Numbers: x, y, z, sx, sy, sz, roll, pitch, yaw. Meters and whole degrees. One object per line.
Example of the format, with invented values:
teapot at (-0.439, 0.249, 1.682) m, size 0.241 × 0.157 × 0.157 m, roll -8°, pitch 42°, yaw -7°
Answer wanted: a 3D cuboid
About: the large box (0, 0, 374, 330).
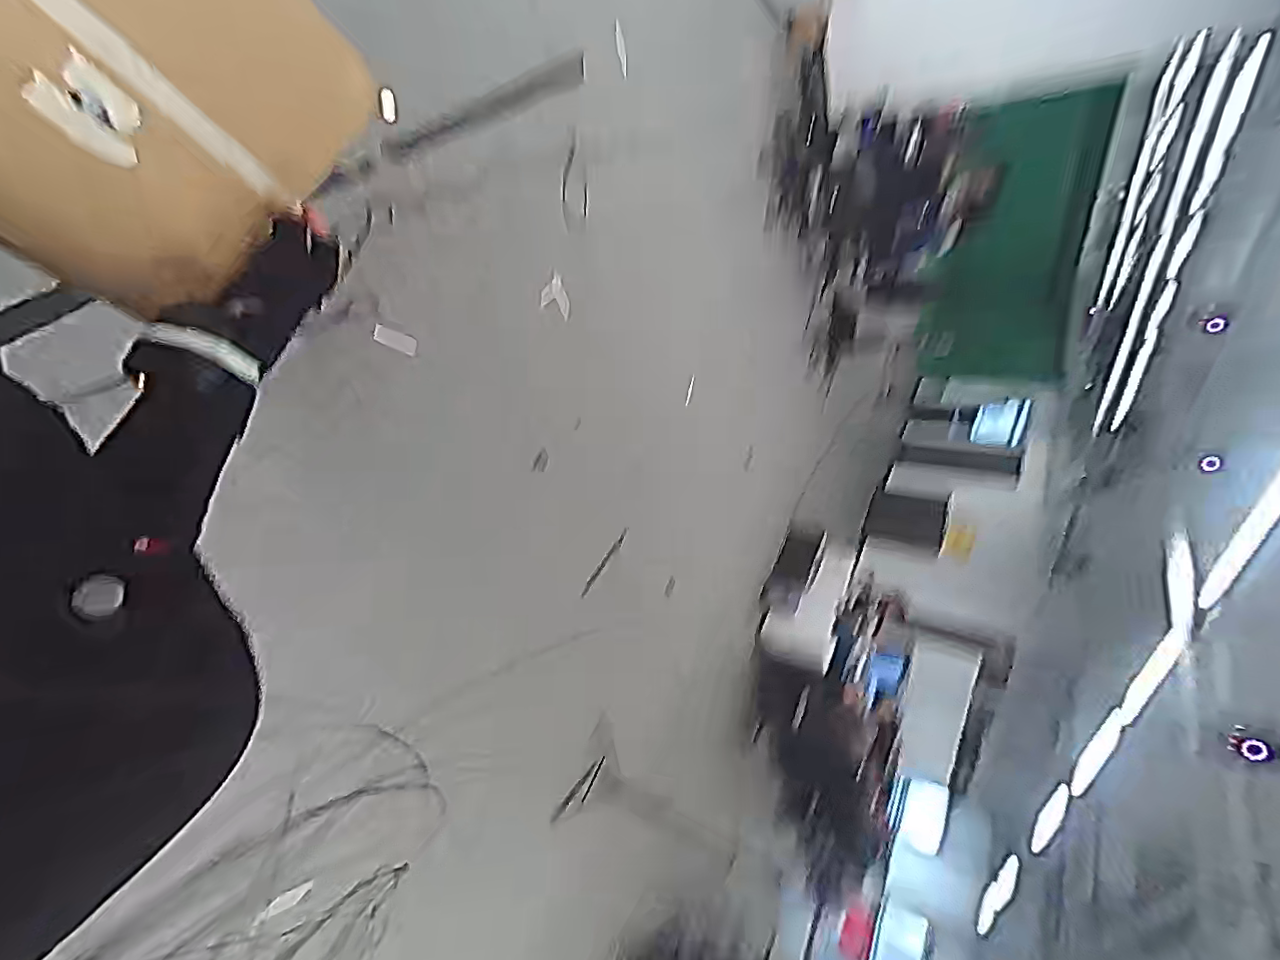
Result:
large box at (-0.531, -0.387, 0.426) m, size 0.320 × 0.320 × 0.408 m, roll -60°, pitch 150°, yaw -10°
